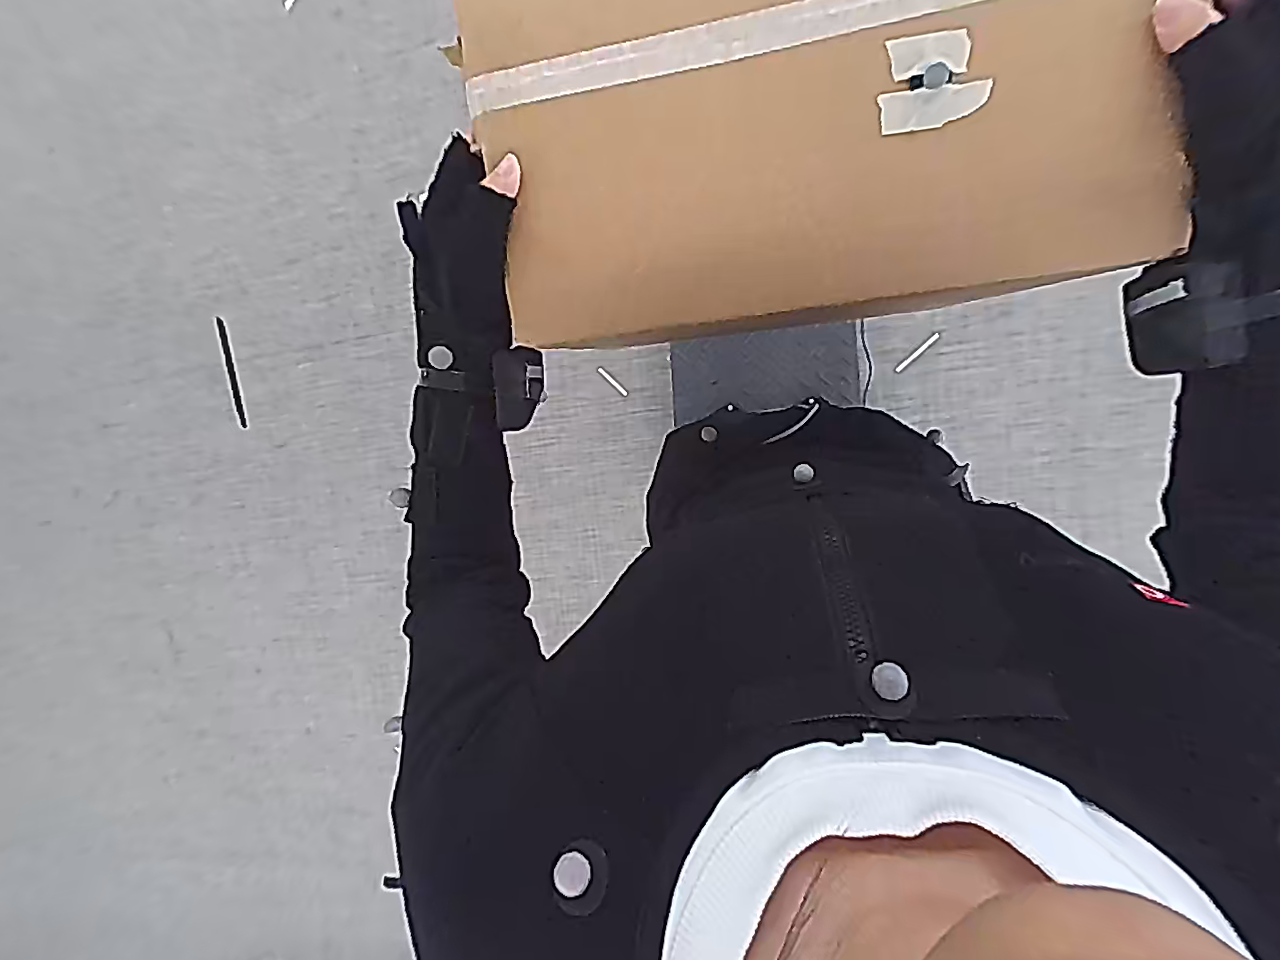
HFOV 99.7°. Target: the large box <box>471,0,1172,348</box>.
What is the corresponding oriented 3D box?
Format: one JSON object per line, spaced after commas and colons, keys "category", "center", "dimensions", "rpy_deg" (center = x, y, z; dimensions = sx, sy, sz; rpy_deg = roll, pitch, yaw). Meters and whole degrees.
{"category": "large box", "center": [0.113, -0.301, 0.468], "dimensions": [0.408, 0.320, 0.320], "rpy_deg": [-6, 103, 9]}
